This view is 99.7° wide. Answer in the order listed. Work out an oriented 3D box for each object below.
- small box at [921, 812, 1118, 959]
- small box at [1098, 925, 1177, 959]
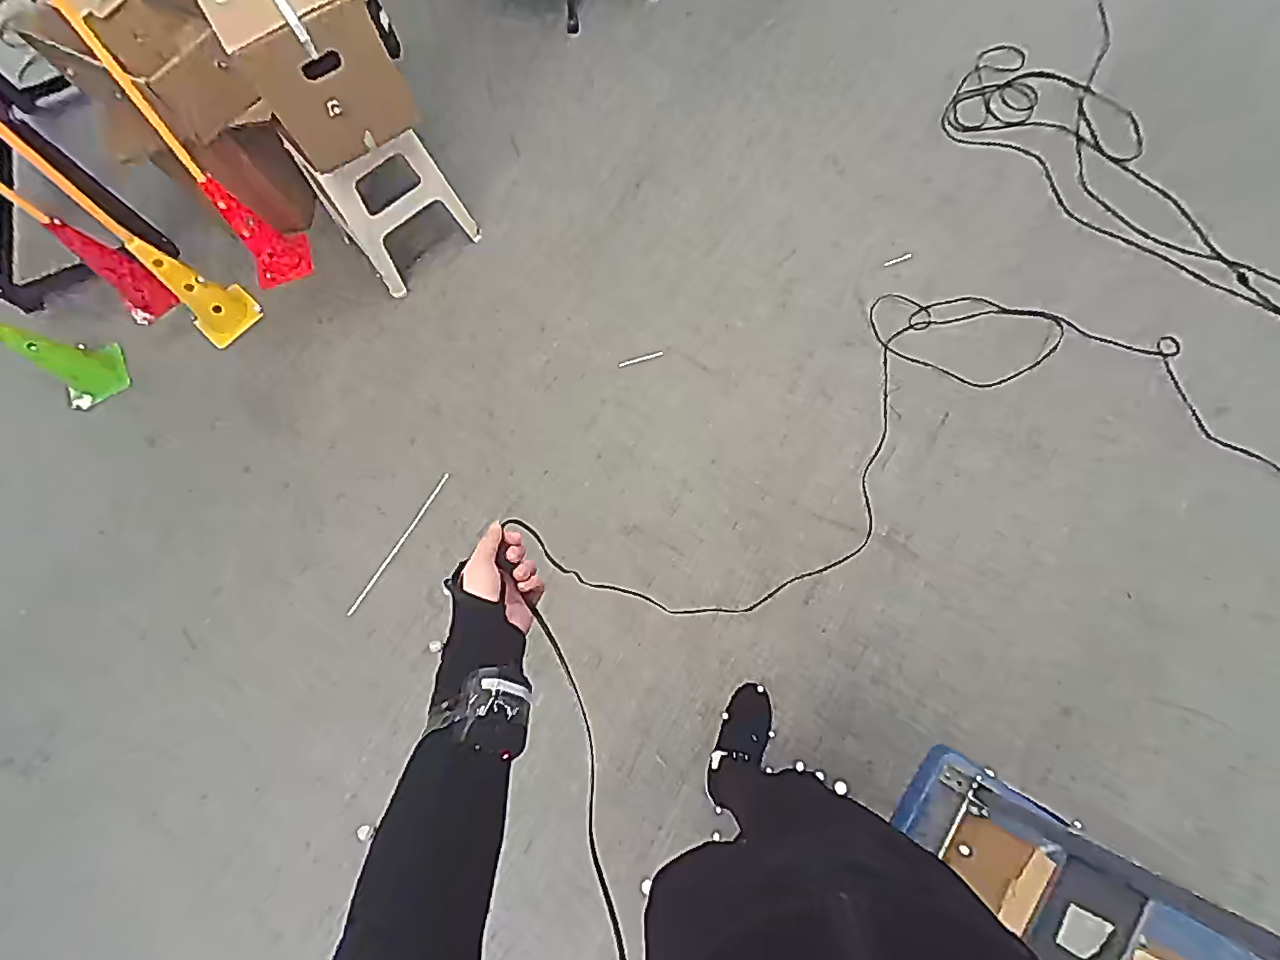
[{"bbox_3d":[0.628,0.712,0.917,0.179,0.176,0.168,39,79,6],"label":"small box"},{"bbox_3d":[0.795,0.845,0.893,0.179,0.176,0.168,24,78,3],"label":"small box"}]
